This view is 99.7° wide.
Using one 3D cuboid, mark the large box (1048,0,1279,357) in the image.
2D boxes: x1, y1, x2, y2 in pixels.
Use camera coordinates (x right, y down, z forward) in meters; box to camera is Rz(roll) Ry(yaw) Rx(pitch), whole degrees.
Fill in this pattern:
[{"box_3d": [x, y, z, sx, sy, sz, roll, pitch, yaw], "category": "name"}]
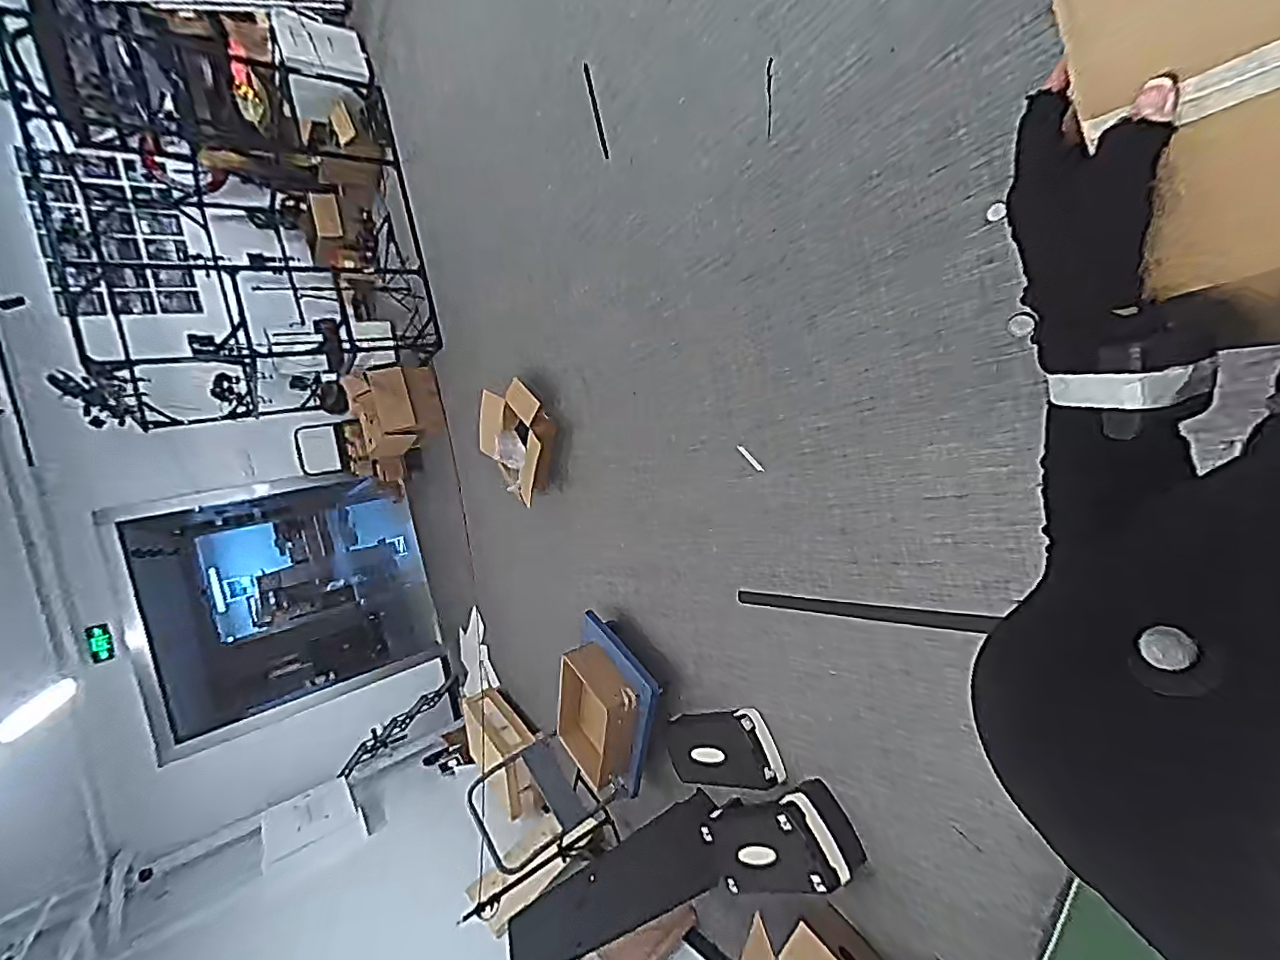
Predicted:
[{"box_3d": [0.465, -0.293, 0.211, 0.320, 0.320, 0.408, 52, 157, -23], "category": "large box"}]
